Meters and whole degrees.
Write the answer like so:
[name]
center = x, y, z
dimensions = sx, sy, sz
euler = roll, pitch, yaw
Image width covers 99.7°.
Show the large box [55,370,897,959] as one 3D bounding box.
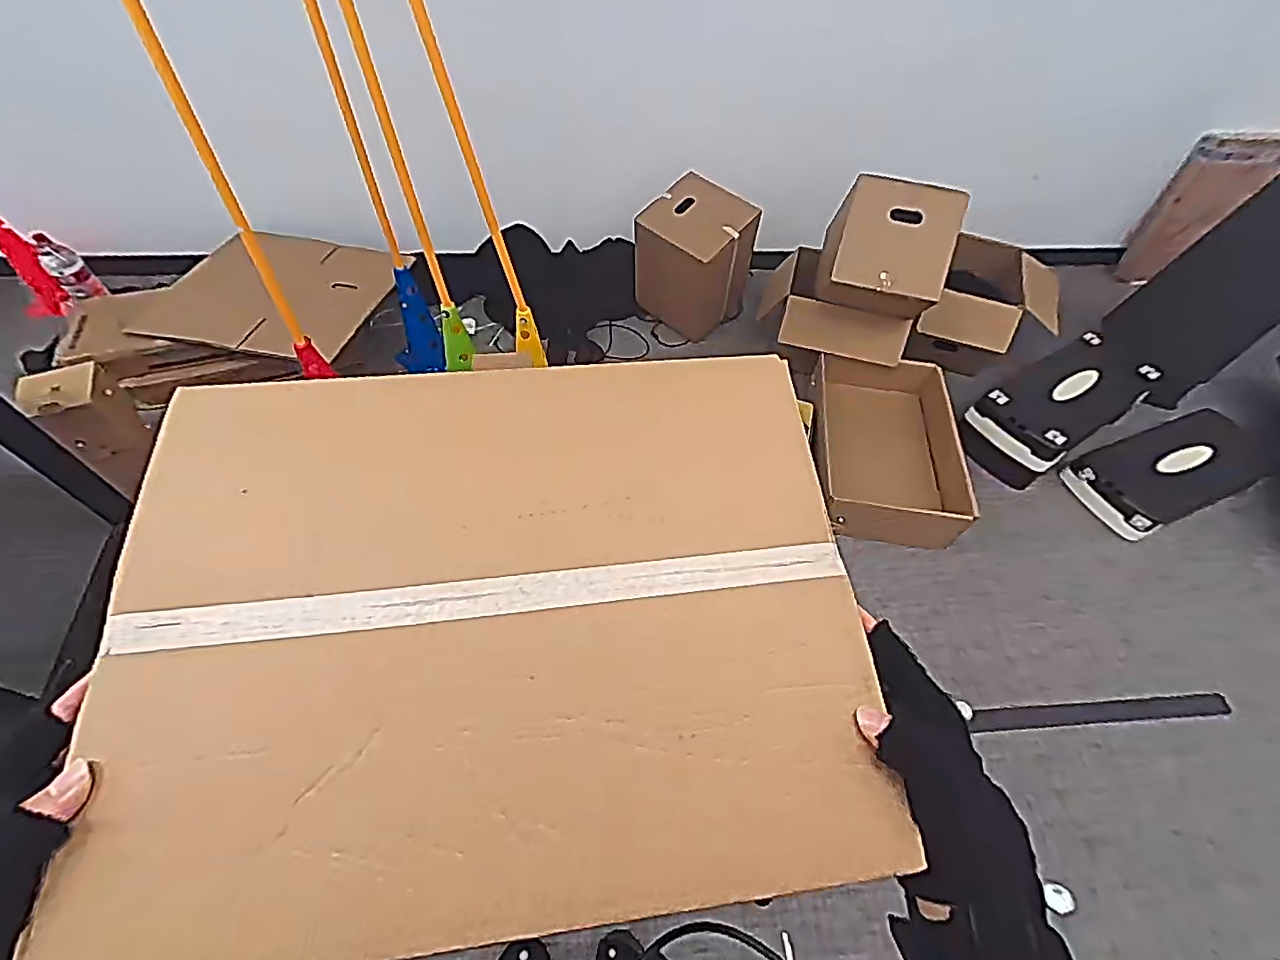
[large box]
center = -0.088, 0.137, 0.449
dimensions = 0.408, 0.320, 0.320
euler = -5, 65, -6
